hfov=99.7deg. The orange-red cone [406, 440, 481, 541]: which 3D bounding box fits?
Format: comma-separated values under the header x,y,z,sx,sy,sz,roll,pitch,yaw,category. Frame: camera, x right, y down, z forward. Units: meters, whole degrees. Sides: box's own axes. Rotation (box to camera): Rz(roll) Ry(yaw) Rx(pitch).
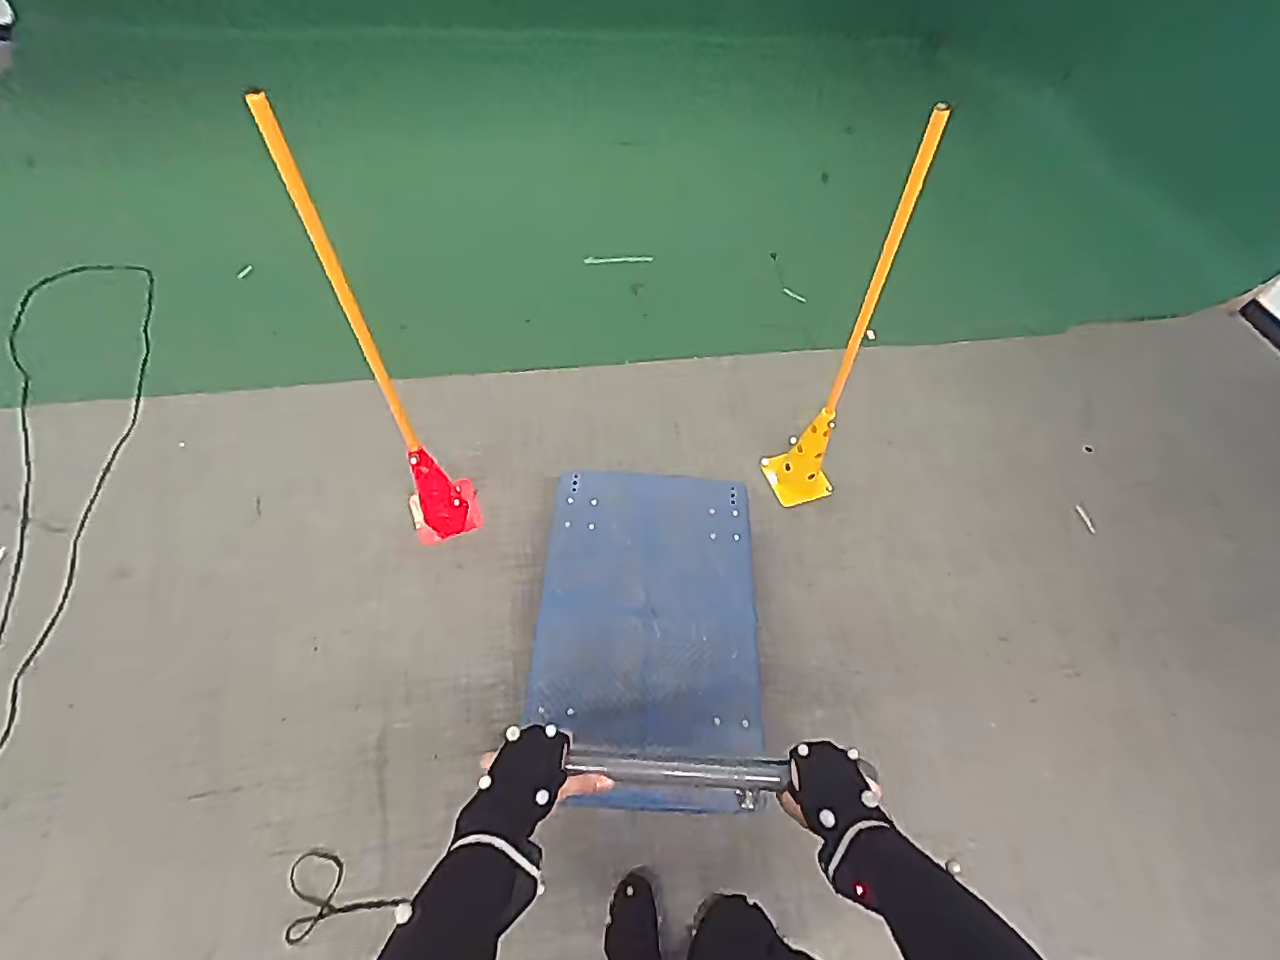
x,y,z,sx,sy,sz,roll,pitch,yaw,category
-0.621,0.001,1.604,0.199,0.360,0.198,-19,60,-13,orange-red cone
